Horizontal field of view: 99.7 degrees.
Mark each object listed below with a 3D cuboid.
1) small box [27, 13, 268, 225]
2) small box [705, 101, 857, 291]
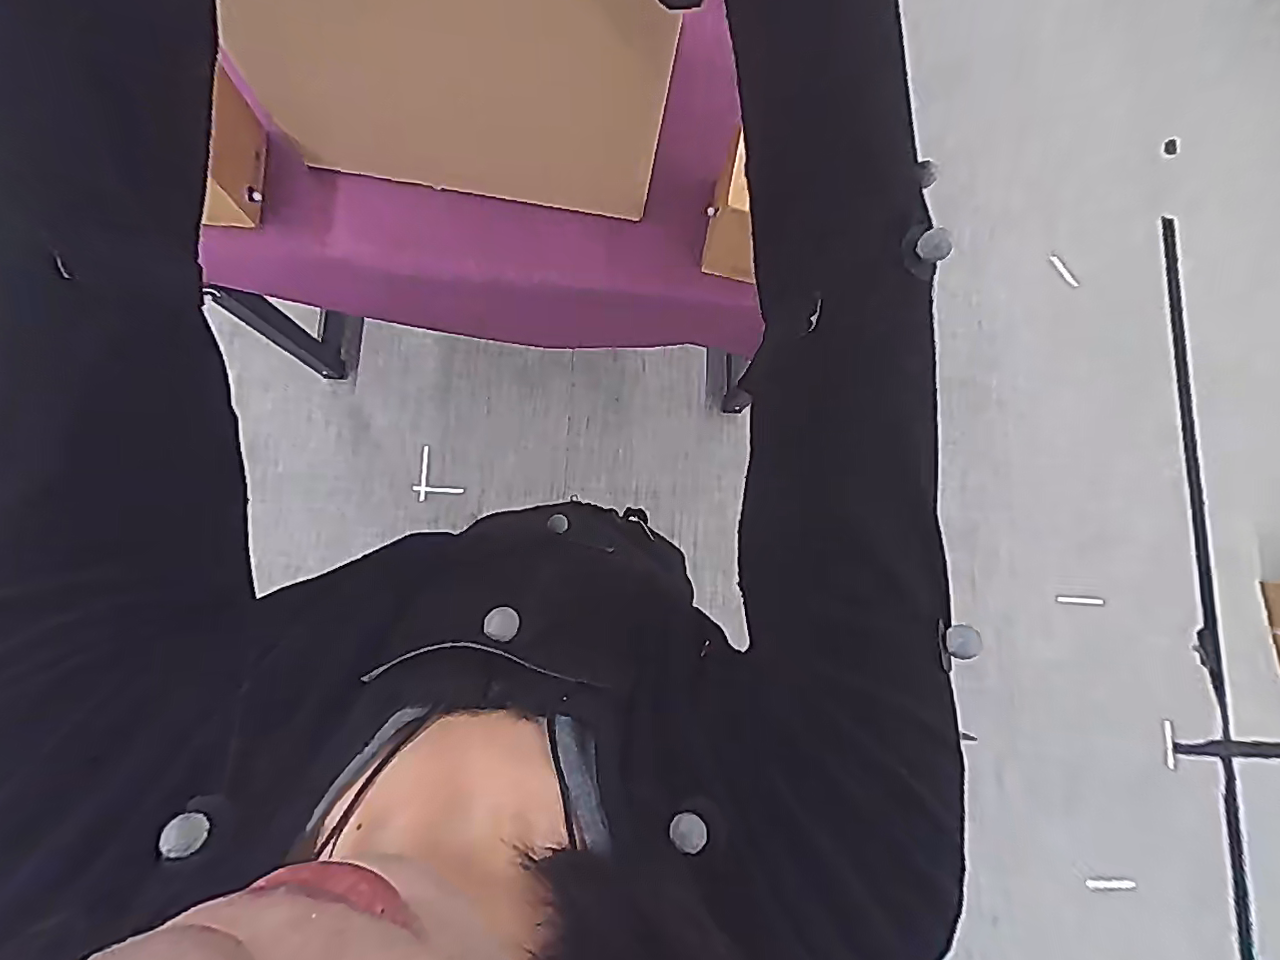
[{"bbox_3d":[-0.639,-0.469,0.729,0.179,0.176,0.168,0,80,-8],"label":"small box"},{"bbox_3d":[0.204,-0.418,0.824,0.168,0.176,0.179,12,79,-5],"label":"small box"}]
